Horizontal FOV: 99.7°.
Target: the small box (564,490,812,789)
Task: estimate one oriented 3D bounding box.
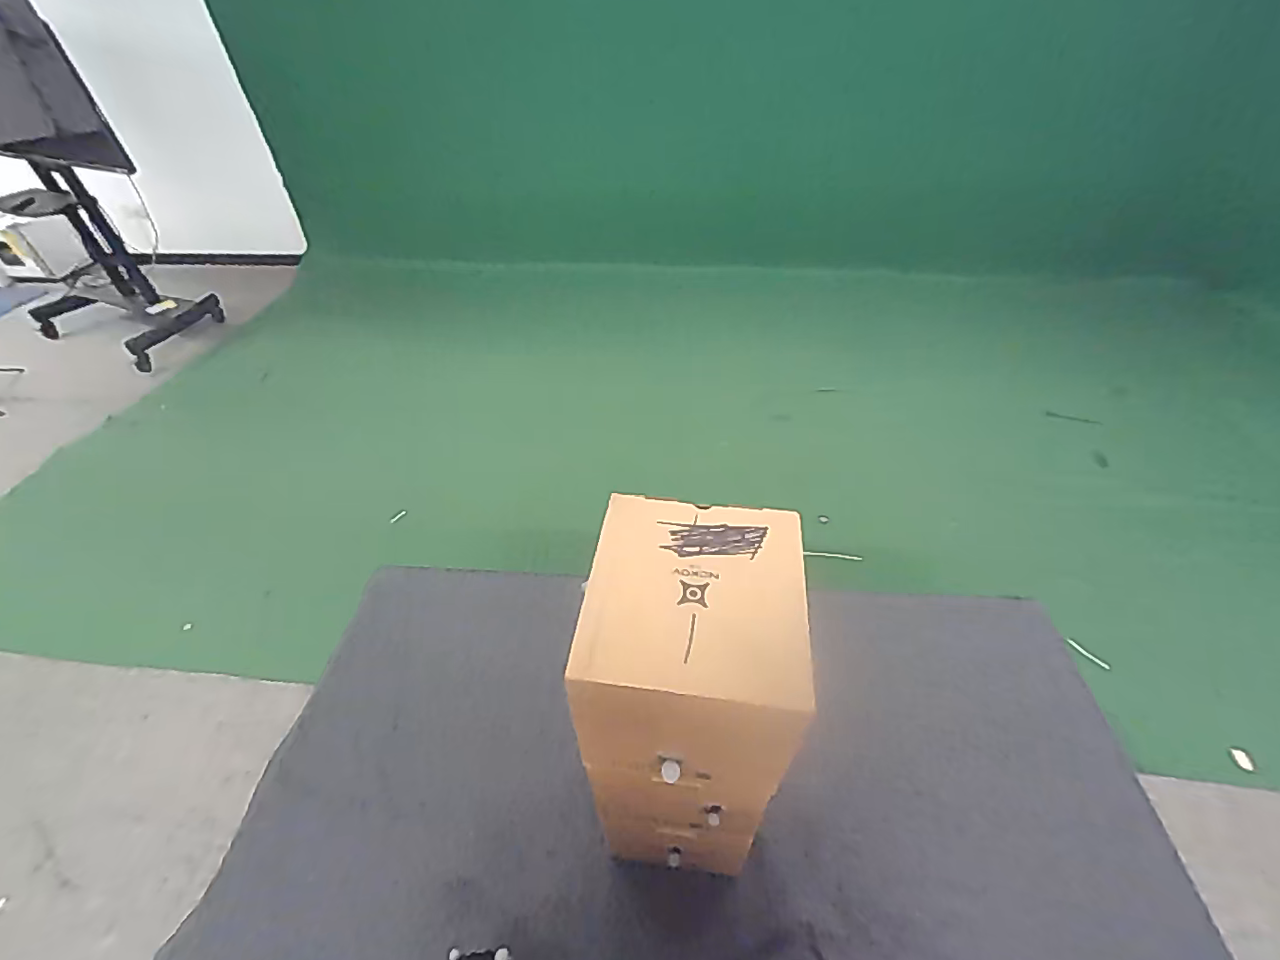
[{"bbox_3d":[0.042,0.134,0.463,0.168,0.176,0.179,6,46,7],"label":"small box"}]

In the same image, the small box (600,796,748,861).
[{"bbox_3d":[0.051,0.364,0.695,0.168,0.176,0.179,4,45,7],"label":"small box"}]

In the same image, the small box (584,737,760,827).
[{"bbox_3d":[0.044,0.248,0.581,0.168,0.176,0.179,4,44,6],"label":"small box"}]
